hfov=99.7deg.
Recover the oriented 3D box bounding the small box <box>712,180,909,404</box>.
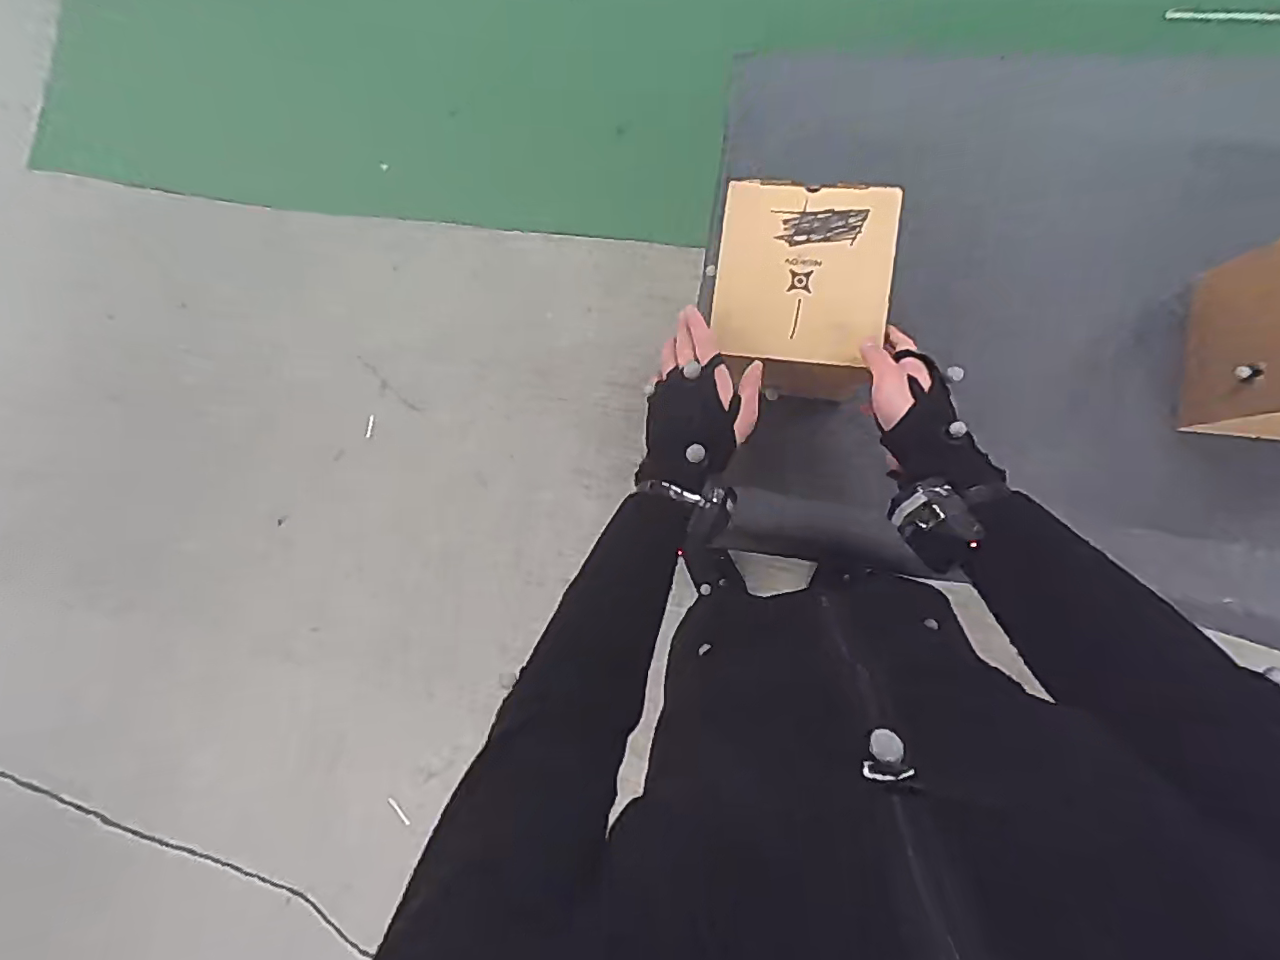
[{"bbox_3d":[0.173,-0.193,0.592,0.168,0.176,0.179,8,89,10],"label":"small box"}]

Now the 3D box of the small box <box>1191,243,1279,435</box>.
[{"bbox_3d":[0.680,-0.134,0.507,0.168,0.176,0.179,7,87,9],"label":"small box"}]
